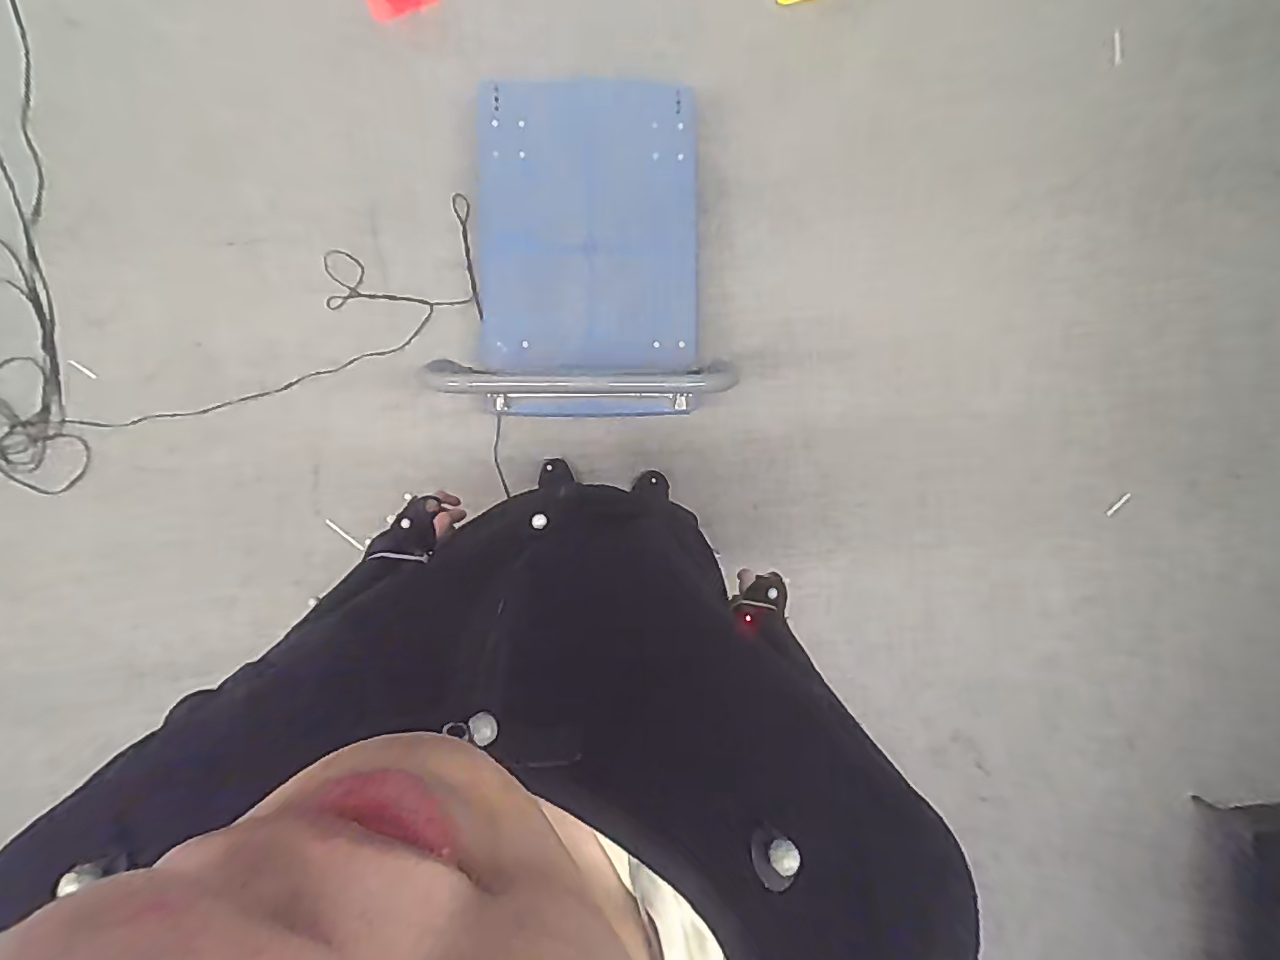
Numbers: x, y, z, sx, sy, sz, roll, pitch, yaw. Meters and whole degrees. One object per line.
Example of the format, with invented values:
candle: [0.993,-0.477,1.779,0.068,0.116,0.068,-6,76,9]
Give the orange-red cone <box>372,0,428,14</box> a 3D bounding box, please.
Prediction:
orange-red cone: [-0.690,-1.448,1.379,0.199,0.360,0.198,-18,92,0]
